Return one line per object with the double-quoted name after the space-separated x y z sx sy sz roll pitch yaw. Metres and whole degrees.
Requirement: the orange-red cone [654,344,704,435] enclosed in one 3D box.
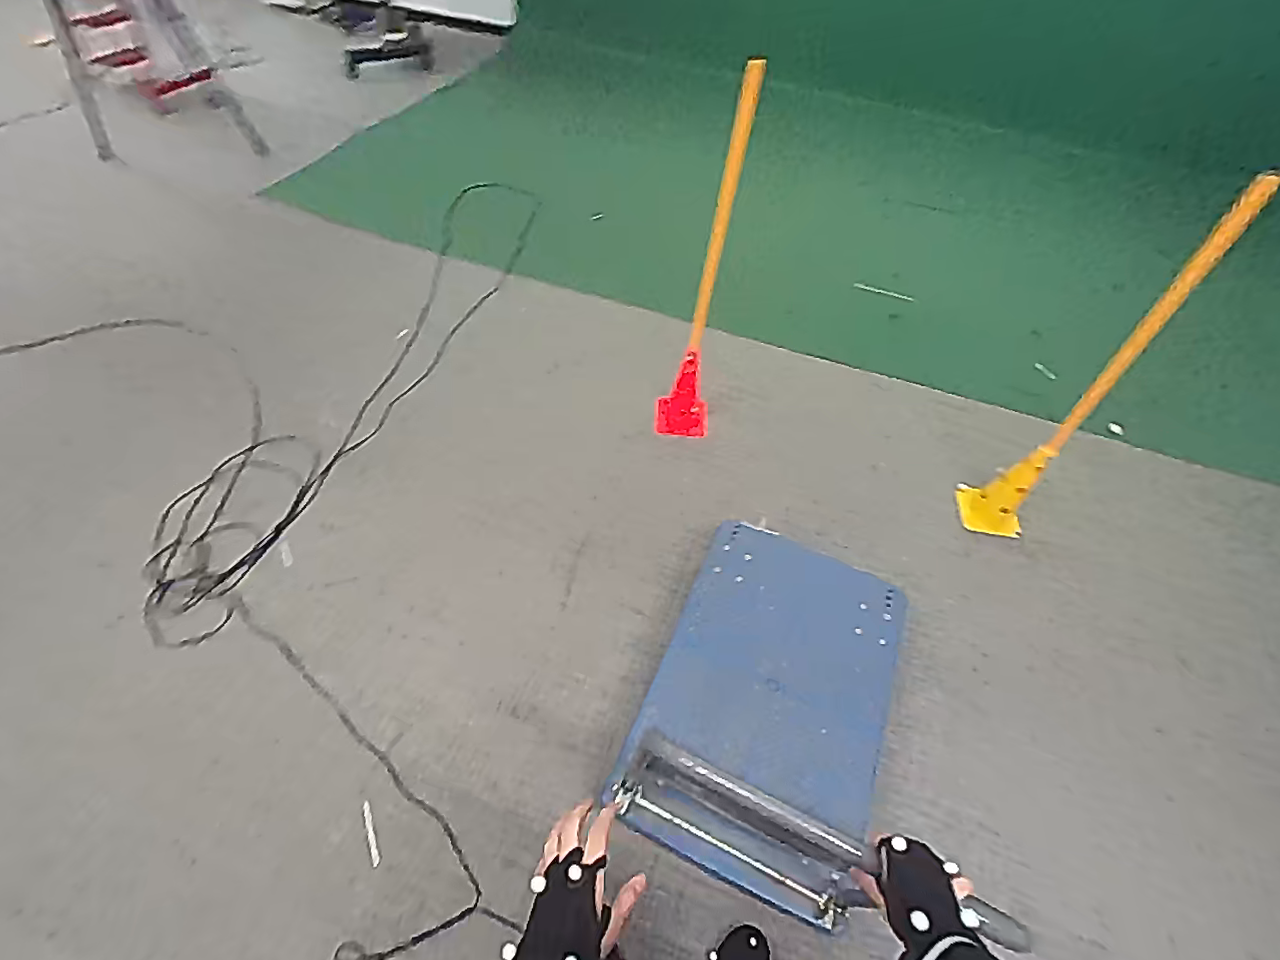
0.163 -0.360 2.034 0.199 0.360 0.198 5 53 1 "orange-red cone"
